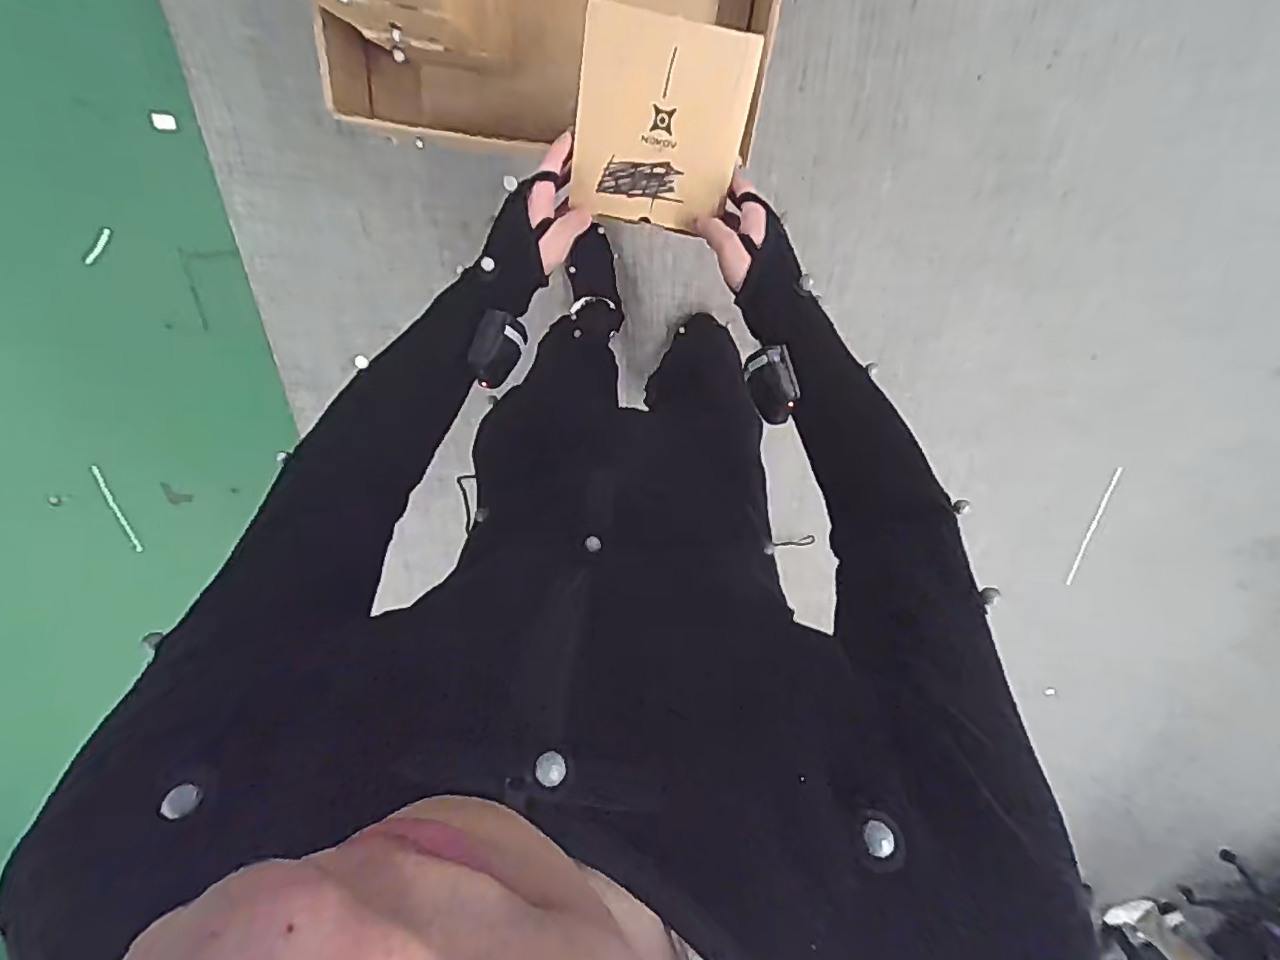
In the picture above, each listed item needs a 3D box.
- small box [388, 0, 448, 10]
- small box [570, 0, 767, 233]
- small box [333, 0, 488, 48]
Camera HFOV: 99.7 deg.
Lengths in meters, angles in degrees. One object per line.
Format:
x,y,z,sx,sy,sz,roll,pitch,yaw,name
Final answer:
-0.260,-0.533,0.443,0.168,0.176,0.179,8,119,-5,small box
0.021,-0.393,0.595,0.168,0.176,0.179,8,122,-7,small box
-0.264,-0.610,0.590,0.168,0.176,0.179,7,119,-6,small box
